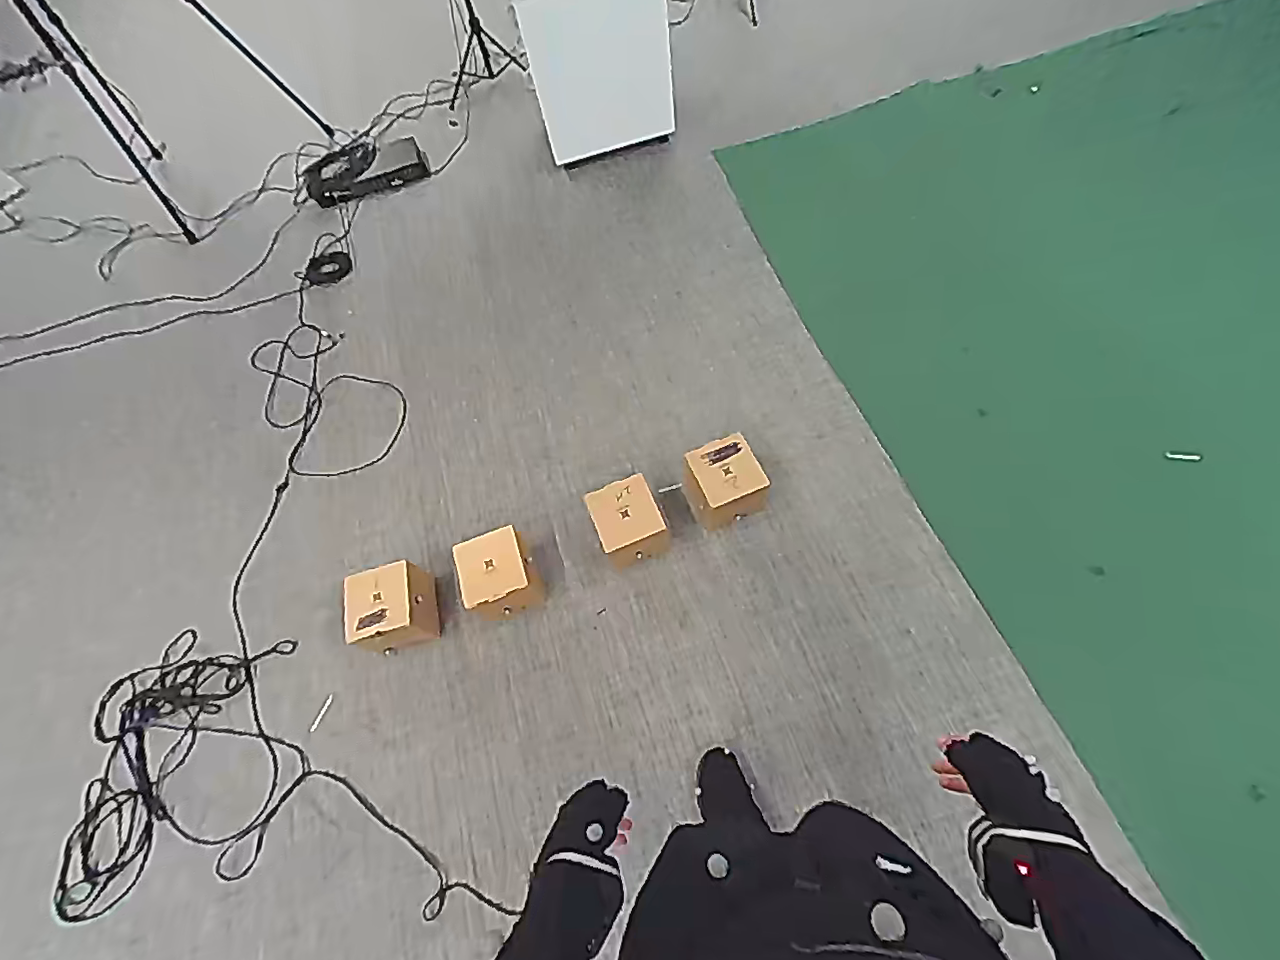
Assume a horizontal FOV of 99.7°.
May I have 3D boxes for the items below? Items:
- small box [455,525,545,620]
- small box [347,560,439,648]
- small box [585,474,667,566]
[{"bbox_3d":[-0.367,0.248,1.432,0.168,0.176,0.179,-21,64,-3],"label":"small box"},{"bbox_3d":[-0.645,0.334,1.423,0.168,0.176,0.179,-16,62,-1],"label":"small box"},{"bbox_3d":[-0.032,0.118,1.452,0.168,0.176,0.179,-22,64,-5],"label":"small box"}]
